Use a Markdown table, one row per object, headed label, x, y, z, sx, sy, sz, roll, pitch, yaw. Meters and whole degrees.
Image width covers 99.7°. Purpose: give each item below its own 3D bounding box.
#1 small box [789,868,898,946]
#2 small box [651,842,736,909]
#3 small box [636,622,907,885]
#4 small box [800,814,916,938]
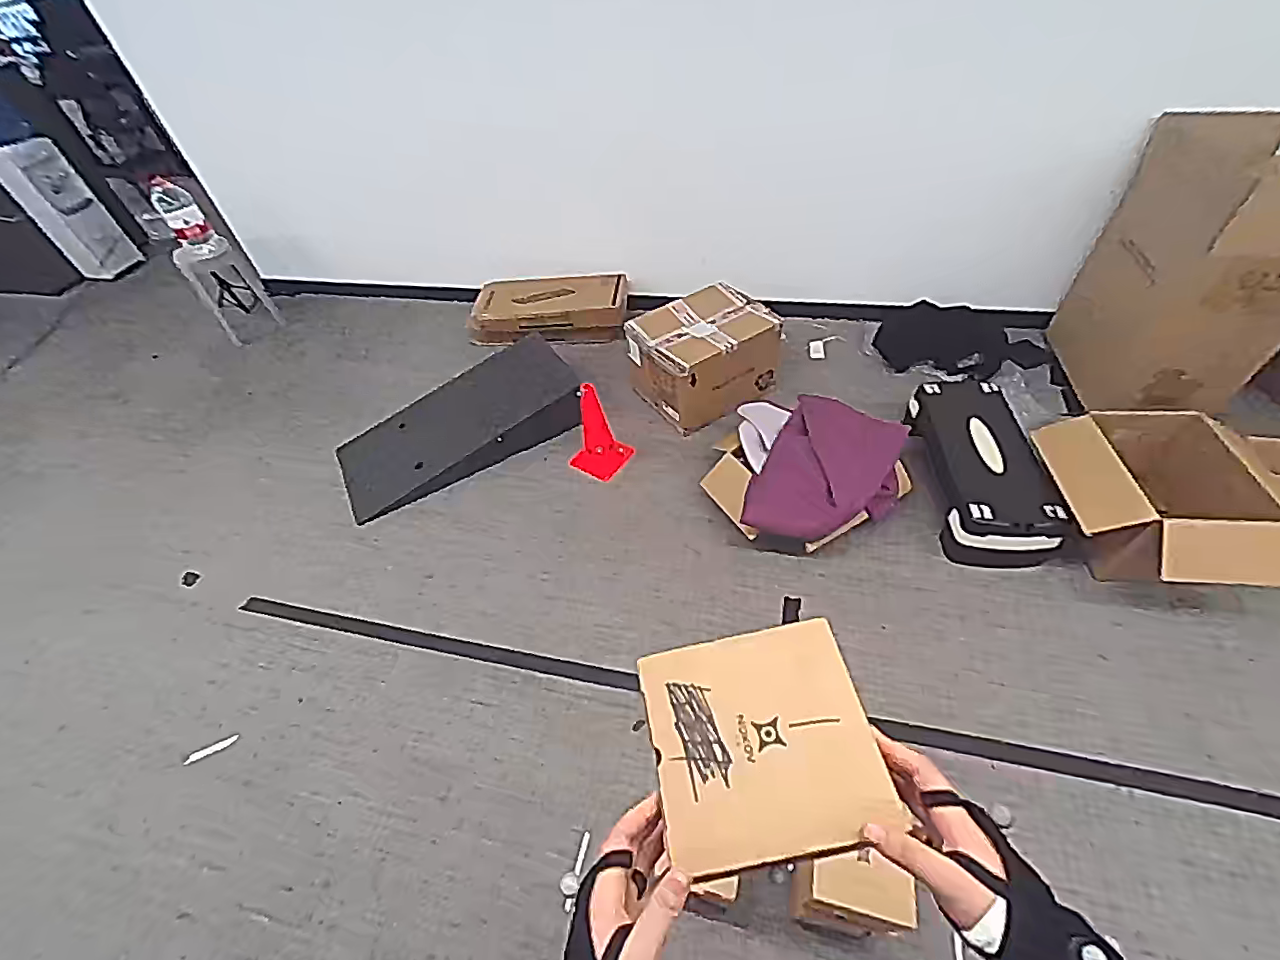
| label | x | y | z | sx | sy | sz | roll | pitch | yaw |
| --- | --- | --- | --- | --- | --- | --- | --- | --- | --- |
| small box | 0.410 | 0.828 | 1.111 | 0.179 | 0.176 | 0.168 | 7 | 49 | 12 |
| small box | 0.131 | 0.798 | 1.170 | 0.168 | 0.176 | 0.179 | 9 | 50 | 15 |
| small box | 0.104 | 0.251 | 0.487 | 0.179 | 0.176 | 0.168 | -12 | 52 | 1 |
| small box | 0.395 | 0.711 | 0.999 | 0.168 | 0.176 | 0.179 | 8 | 51 | 14 |
